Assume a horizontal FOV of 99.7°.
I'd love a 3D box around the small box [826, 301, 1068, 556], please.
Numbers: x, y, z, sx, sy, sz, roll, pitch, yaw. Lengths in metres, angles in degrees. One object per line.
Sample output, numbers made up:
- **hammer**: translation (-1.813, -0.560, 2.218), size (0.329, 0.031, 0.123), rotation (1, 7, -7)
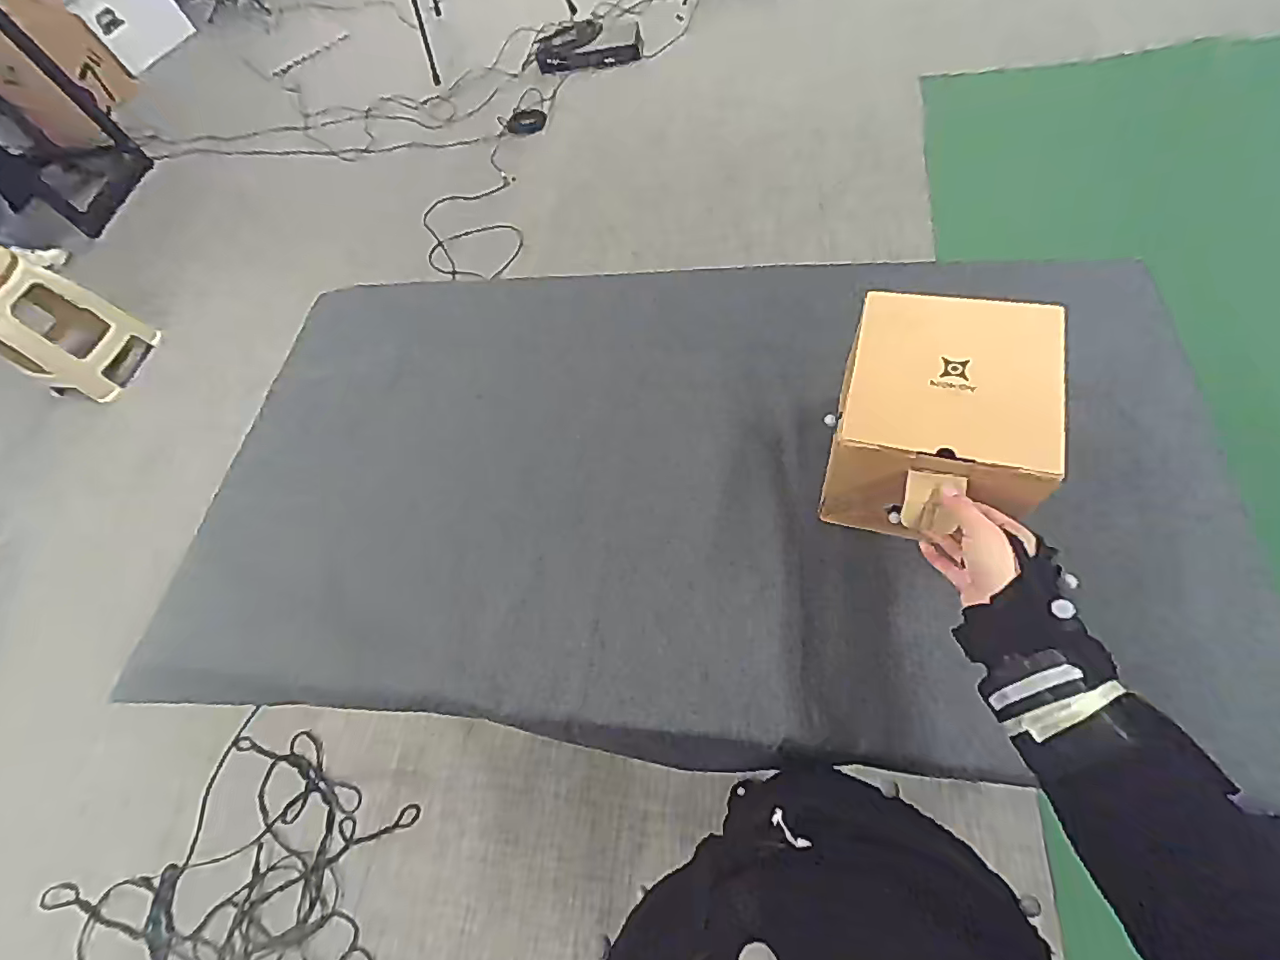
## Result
- **small box**: translation (0.288, -0.046, 0.536), size (0.168, 0.176, 0.179), rotation (11, 66, 17)
